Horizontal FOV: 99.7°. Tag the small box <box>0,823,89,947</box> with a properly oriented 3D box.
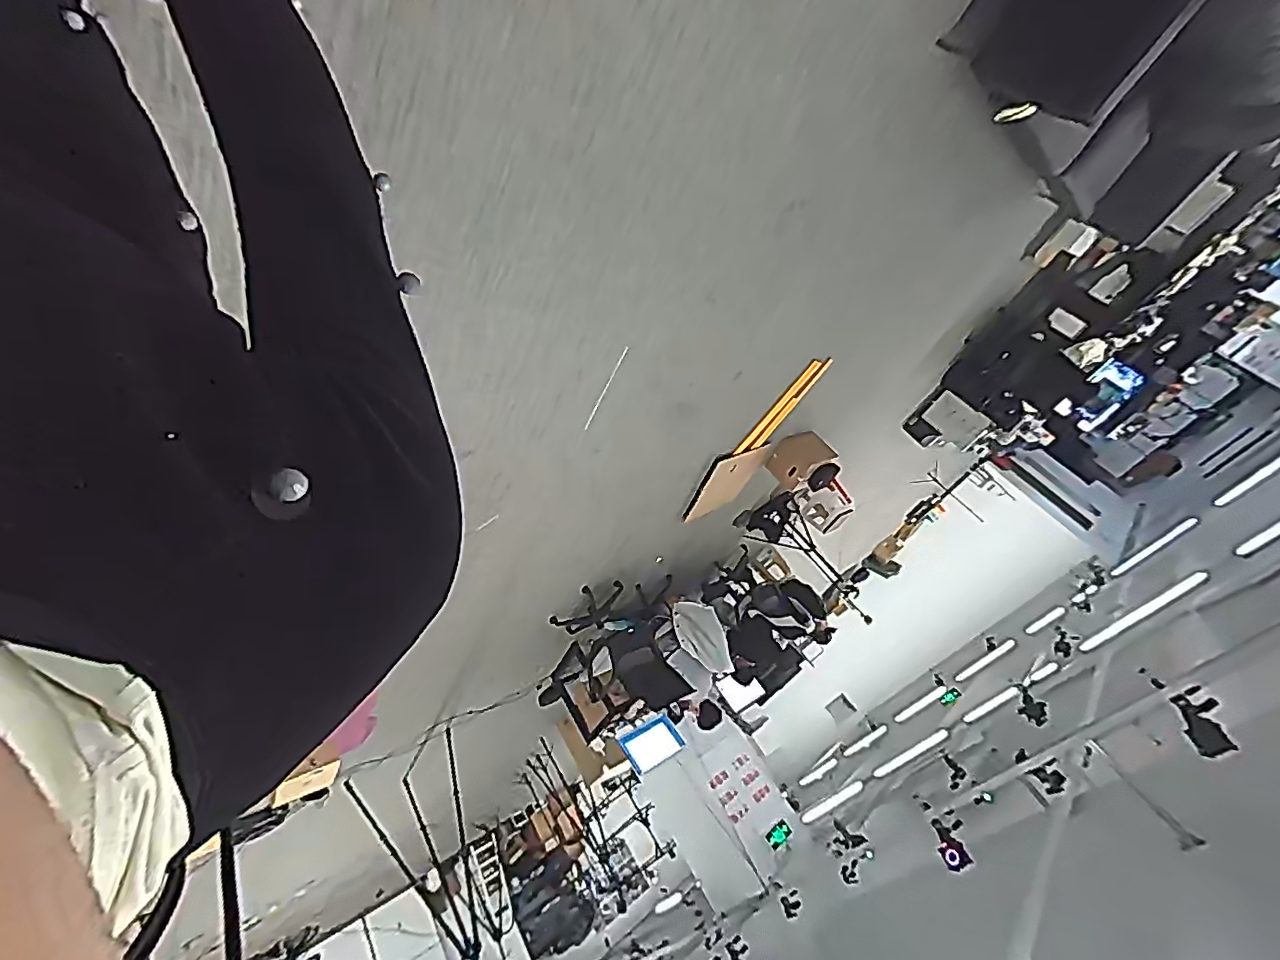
[{"bbox_3d":[-1.490,0.991,1.332,0.168,0.176,0.179,-10,140,-45],"label":"small box"}]

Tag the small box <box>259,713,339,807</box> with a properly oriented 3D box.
[{"bbox_3d":[-1.045,0.847,1.650,0.168,0.176,0.179,-7,139,-45],"label":"small box"}]

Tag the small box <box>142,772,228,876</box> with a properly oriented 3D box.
[{"bbox_3d":[-1.290,0.966,1.534,0.168,0.176,0.179,-8,141,-44],"label":"small box"}]
